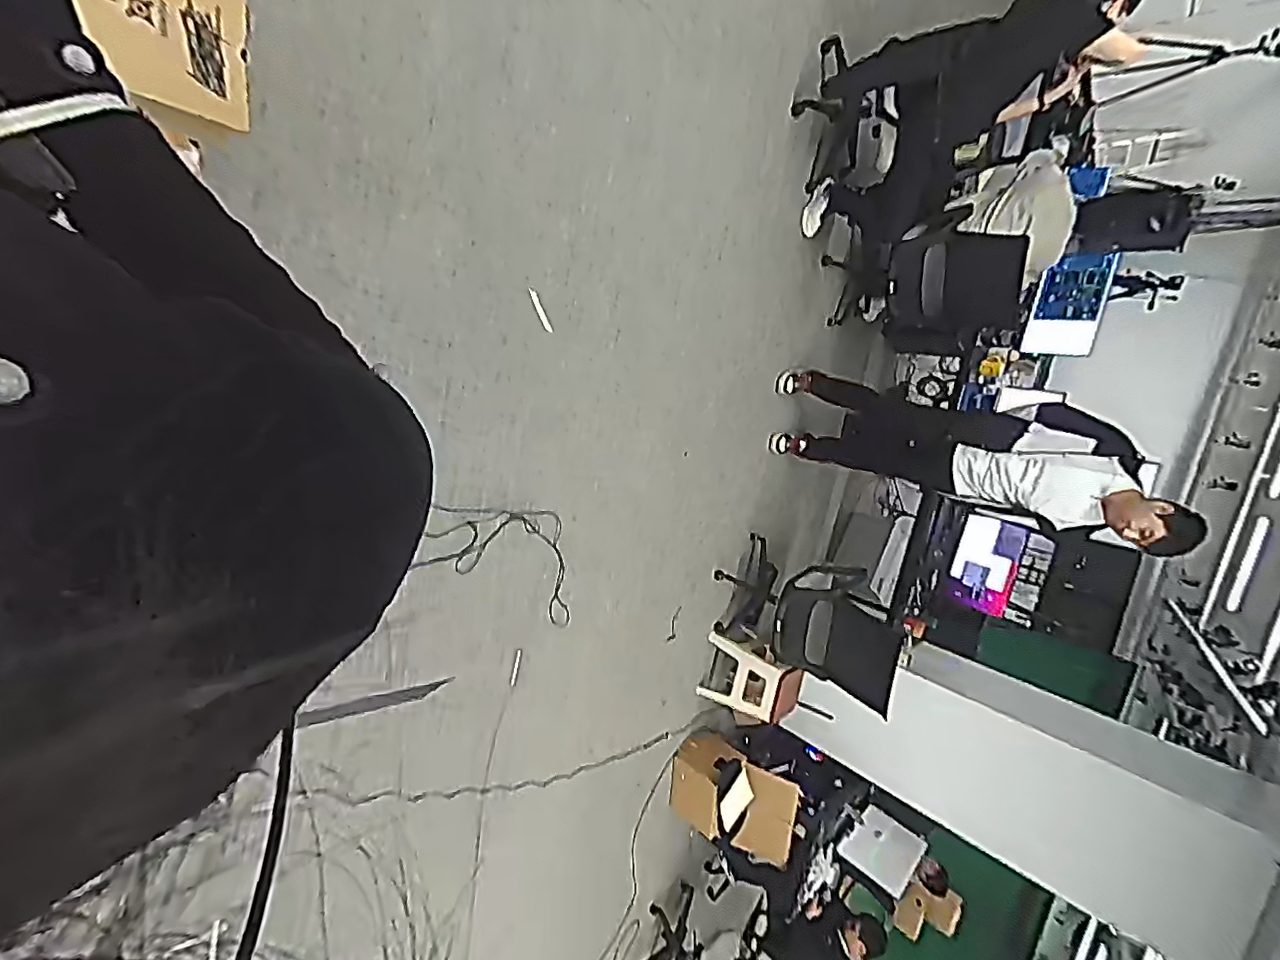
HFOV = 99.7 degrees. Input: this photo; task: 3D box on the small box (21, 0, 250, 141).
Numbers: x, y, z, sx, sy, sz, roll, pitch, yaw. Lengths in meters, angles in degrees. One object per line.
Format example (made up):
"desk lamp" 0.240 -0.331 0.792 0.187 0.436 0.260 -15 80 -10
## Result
"small box" -0.580 -0.515 0.626 0.179 0.176 0.168 -6 111 -48
